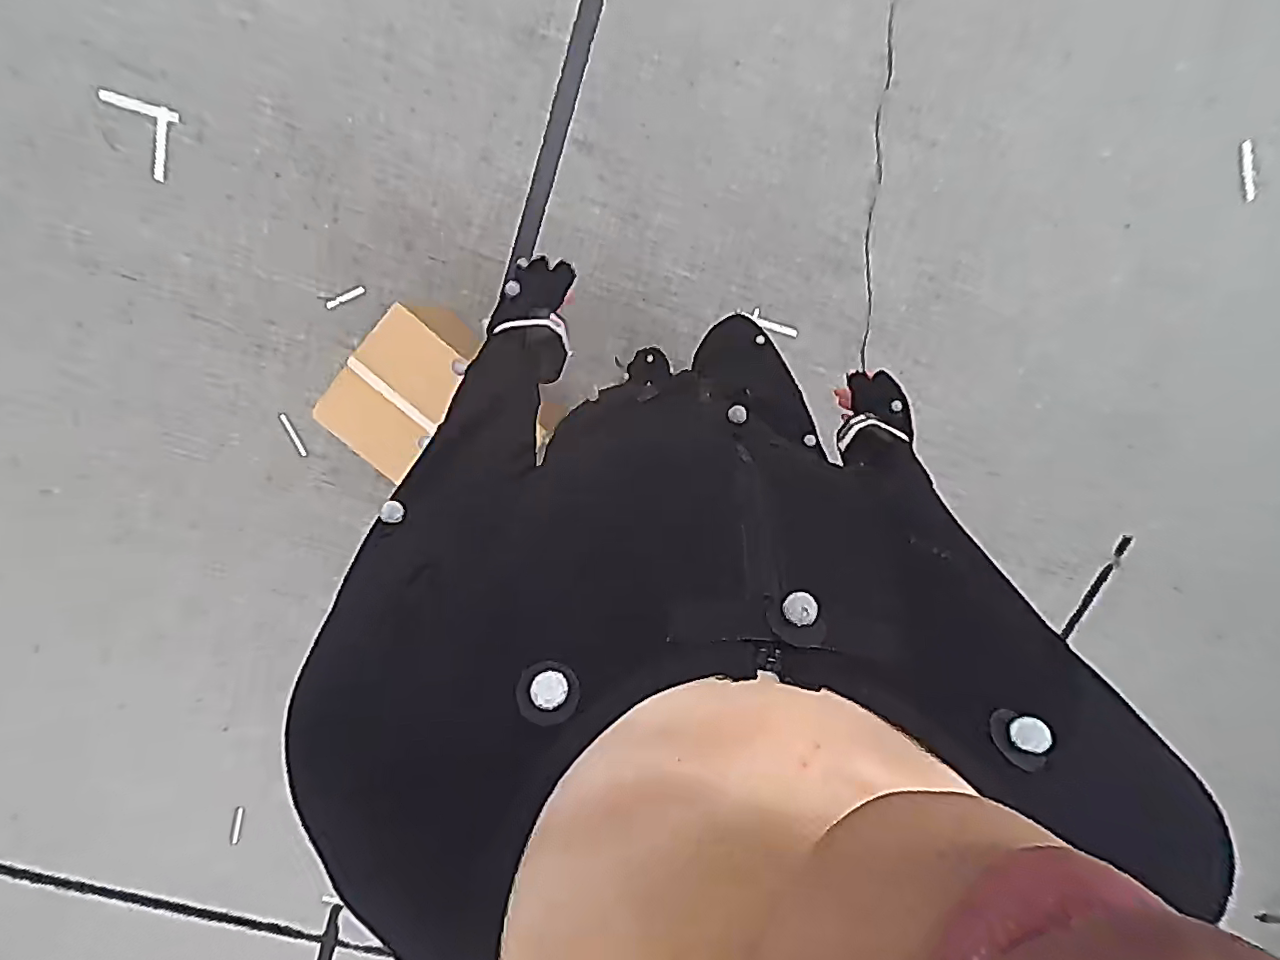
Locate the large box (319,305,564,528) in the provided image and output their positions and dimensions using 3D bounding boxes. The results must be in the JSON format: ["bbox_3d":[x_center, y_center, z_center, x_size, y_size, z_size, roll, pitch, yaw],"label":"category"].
[{"bbox_3d":[-0.441,-0.161,1.297,0.408,0.320,0.320,41,101,-11],"label":"large box"}]
